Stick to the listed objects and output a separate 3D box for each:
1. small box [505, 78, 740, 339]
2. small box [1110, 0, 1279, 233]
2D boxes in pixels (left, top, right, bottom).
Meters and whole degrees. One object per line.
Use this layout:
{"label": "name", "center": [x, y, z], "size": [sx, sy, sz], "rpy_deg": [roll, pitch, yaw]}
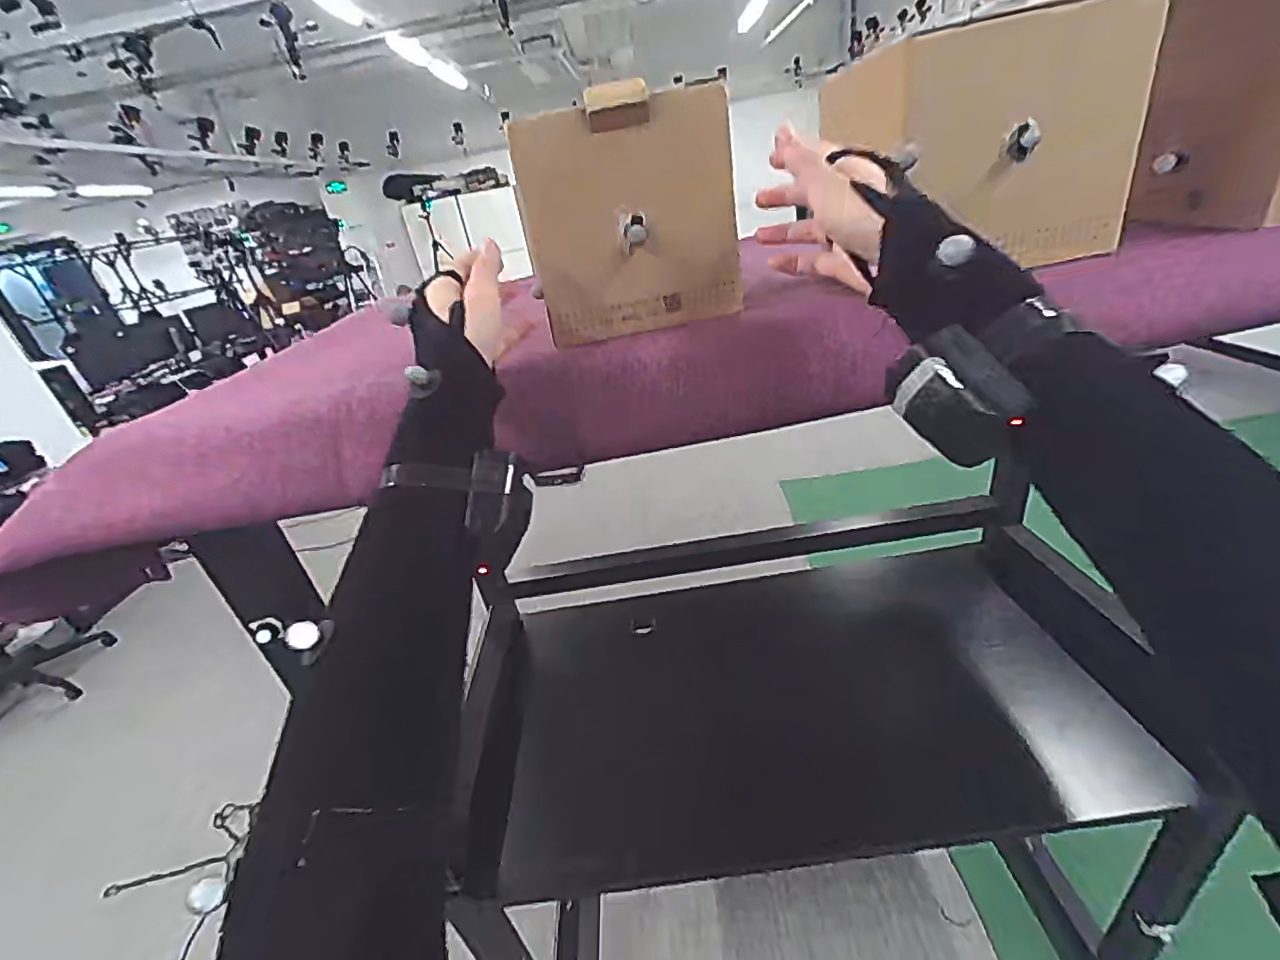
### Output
{"label": "small box", "center": [-0.012, -0.236, 0.497], "size": [0.168, 0.176, 0.179], "rpy_deg": [-11, 27, -1]}
{"label": "small box", "center": [0.543, -0.313, 0.441], "size": [0.179, 0.176, 0.168], "rpy_deg": [-10, 27, 4]}
